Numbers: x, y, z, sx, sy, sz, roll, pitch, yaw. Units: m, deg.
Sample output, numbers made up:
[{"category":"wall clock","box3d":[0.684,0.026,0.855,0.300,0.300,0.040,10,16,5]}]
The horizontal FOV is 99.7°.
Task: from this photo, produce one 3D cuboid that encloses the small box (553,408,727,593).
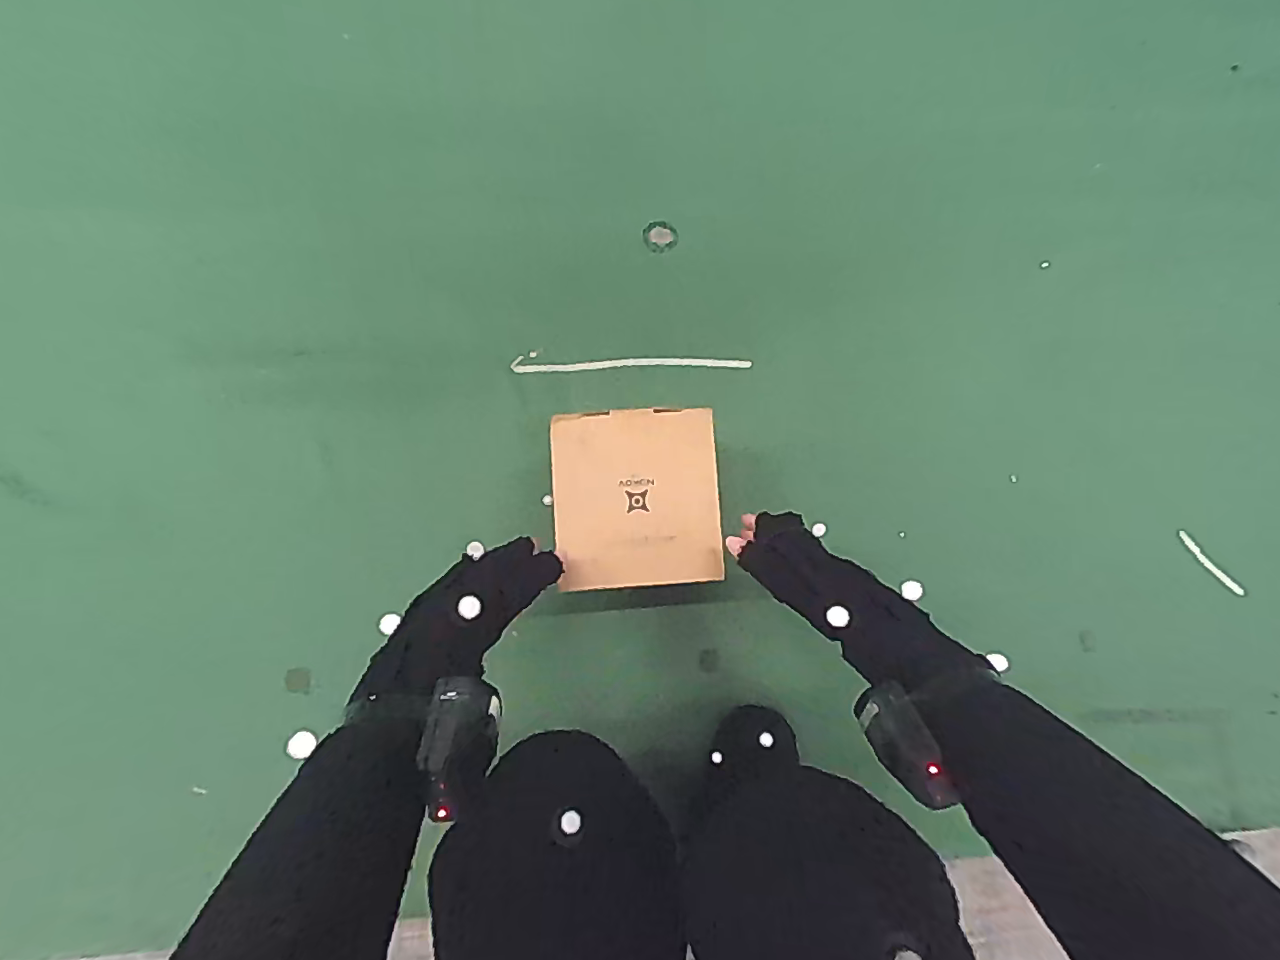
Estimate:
[{"category":"small box","box3d":[-0.003,0.027,0.592,0.168,0.176,0.179,-1,84,-2]}]
